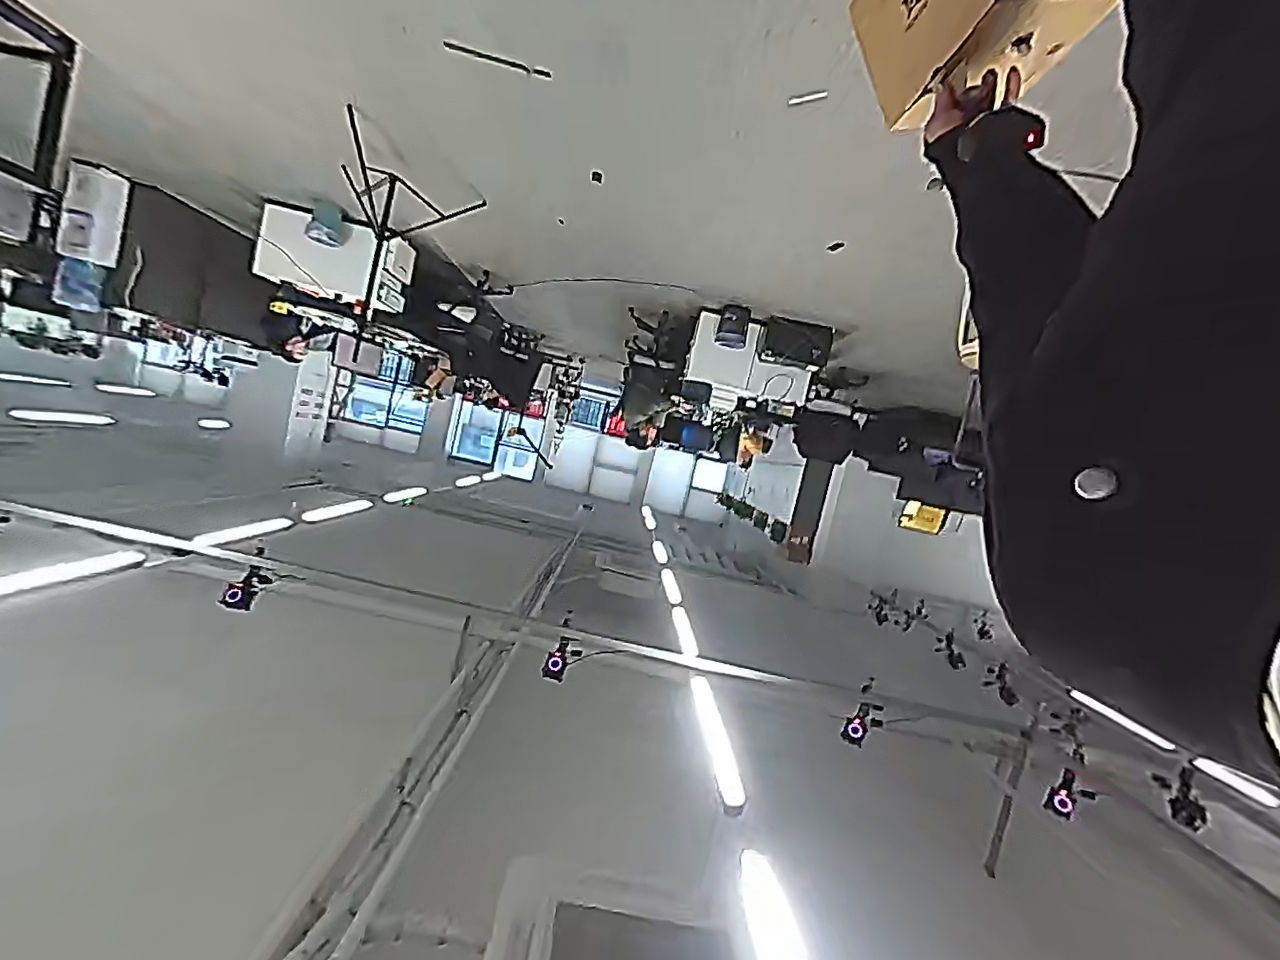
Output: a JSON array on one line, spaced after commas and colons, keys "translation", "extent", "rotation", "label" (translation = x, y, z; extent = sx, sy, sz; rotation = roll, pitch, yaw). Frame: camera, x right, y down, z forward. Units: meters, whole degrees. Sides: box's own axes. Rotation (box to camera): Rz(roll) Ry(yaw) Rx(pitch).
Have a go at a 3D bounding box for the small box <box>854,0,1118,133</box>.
[{"translation": [0.381, -0.538, 0.612], "extent": [0.176, 0.179, 0.168], "rotation": [-12, 175, -12], "label": "small box"}]
